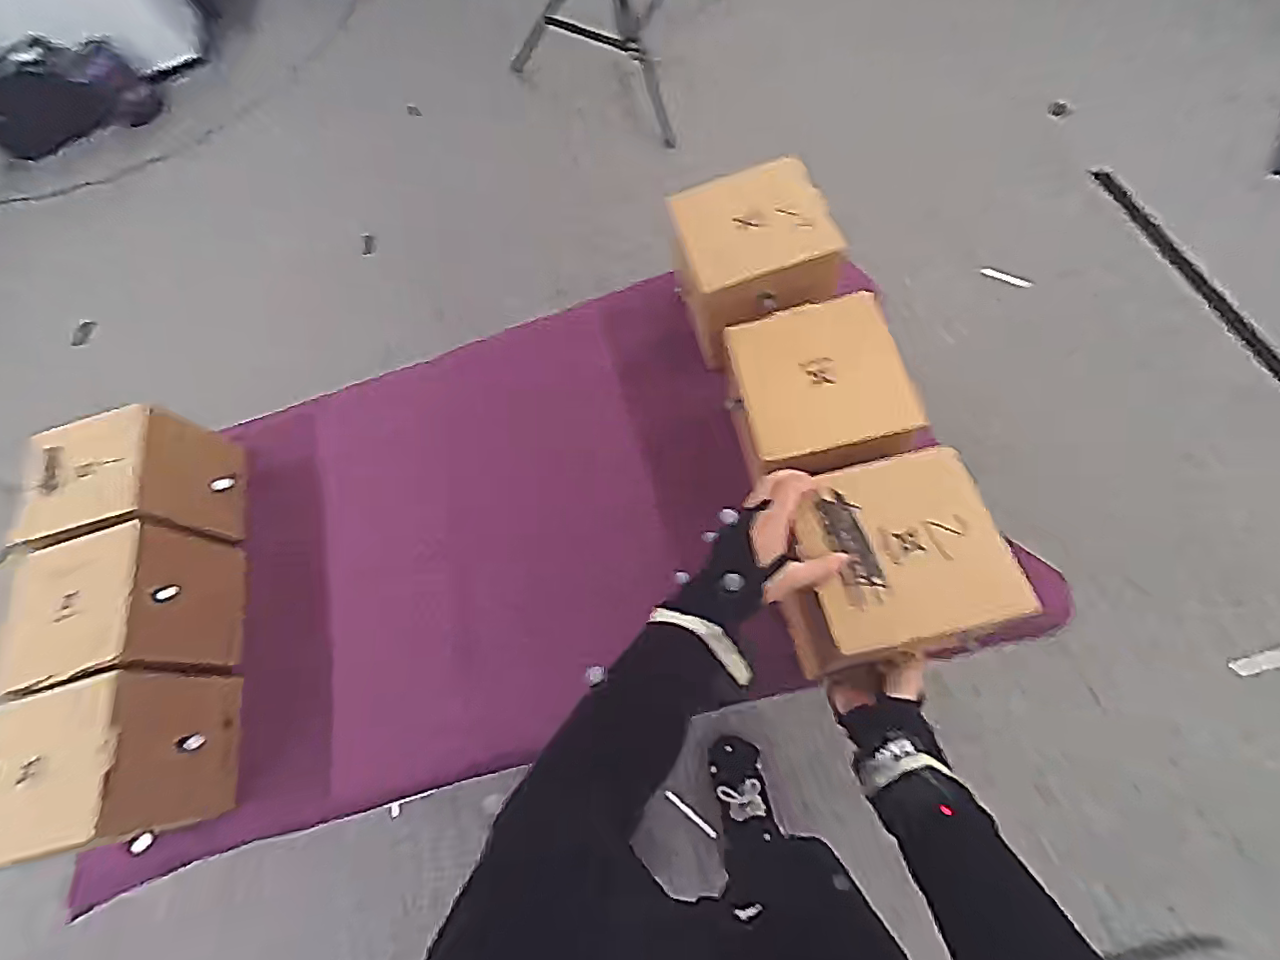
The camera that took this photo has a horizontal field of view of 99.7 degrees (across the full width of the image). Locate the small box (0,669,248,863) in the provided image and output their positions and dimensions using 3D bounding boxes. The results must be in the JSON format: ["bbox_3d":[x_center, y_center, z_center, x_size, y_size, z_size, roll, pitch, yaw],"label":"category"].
[{"bbox_3d":[-0.618,0.334,0.652,0.179,0.176,0.168,-16,66,3],"label":"small box"}]

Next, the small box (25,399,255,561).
[{"bbox_3d":[-0.716,0.010,0.795,0.179,0.176,0.168,-15,69,4],"label":"small box"}]

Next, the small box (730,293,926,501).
[{"bbox_3d":[0.211,-0.085,0.651,0.168,0.176,0.179,-13,66,7],"label":"small box"}]

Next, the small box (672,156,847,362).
[{"bbox_3d":[0.155,-0.285,0.732,0.179,0.176,0.168,-16,68,4],"label":"small box"}]
